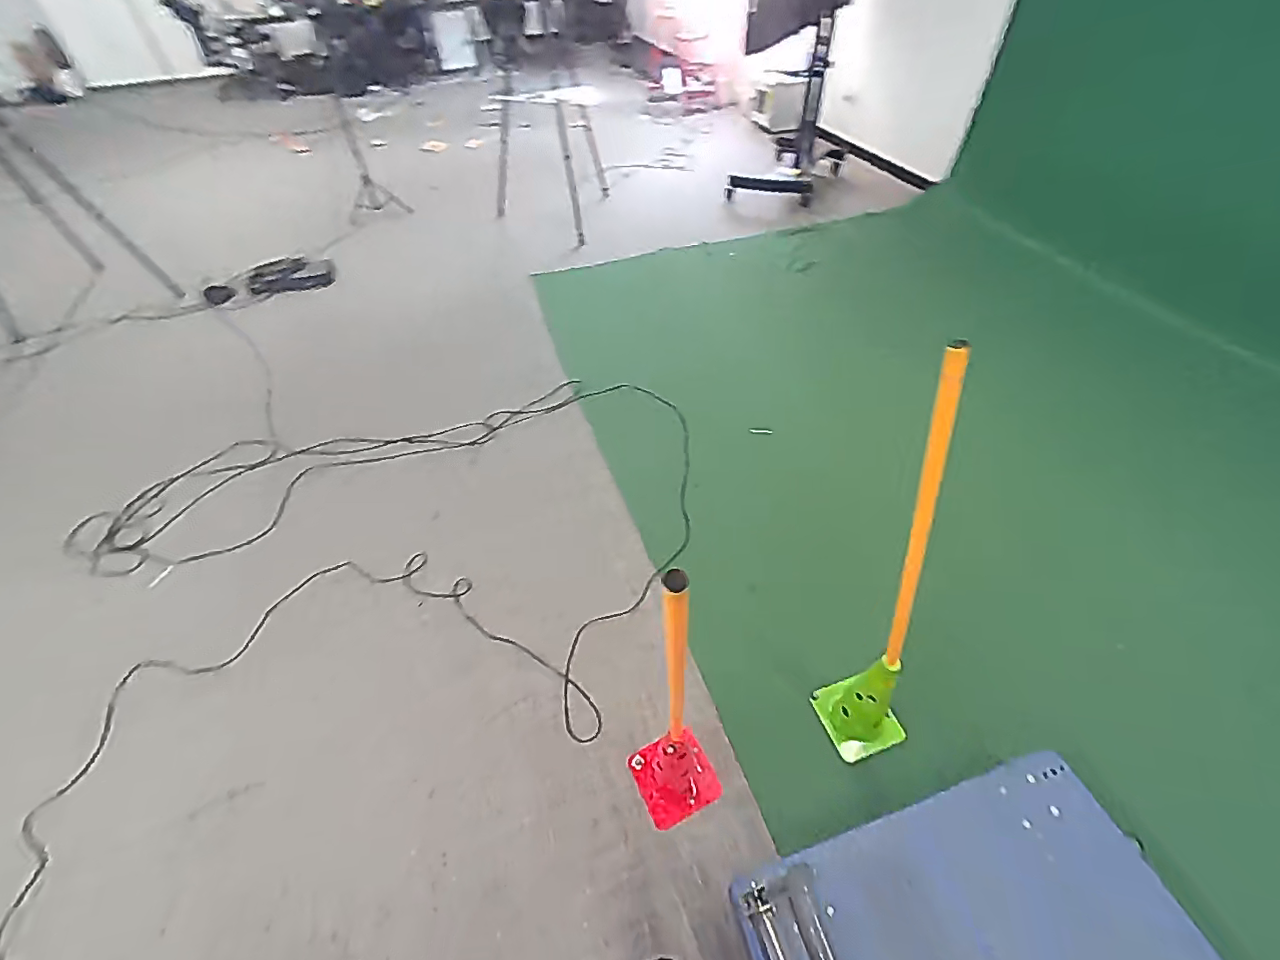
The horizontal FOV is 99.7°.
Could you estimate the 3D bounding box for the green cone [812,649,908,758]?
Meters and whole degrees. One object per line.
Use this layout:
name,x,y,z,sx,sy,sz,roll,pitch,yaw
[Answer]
green cone,0.613,0.542,1.401,0.202,0.368,0.200,-15,49,-12
